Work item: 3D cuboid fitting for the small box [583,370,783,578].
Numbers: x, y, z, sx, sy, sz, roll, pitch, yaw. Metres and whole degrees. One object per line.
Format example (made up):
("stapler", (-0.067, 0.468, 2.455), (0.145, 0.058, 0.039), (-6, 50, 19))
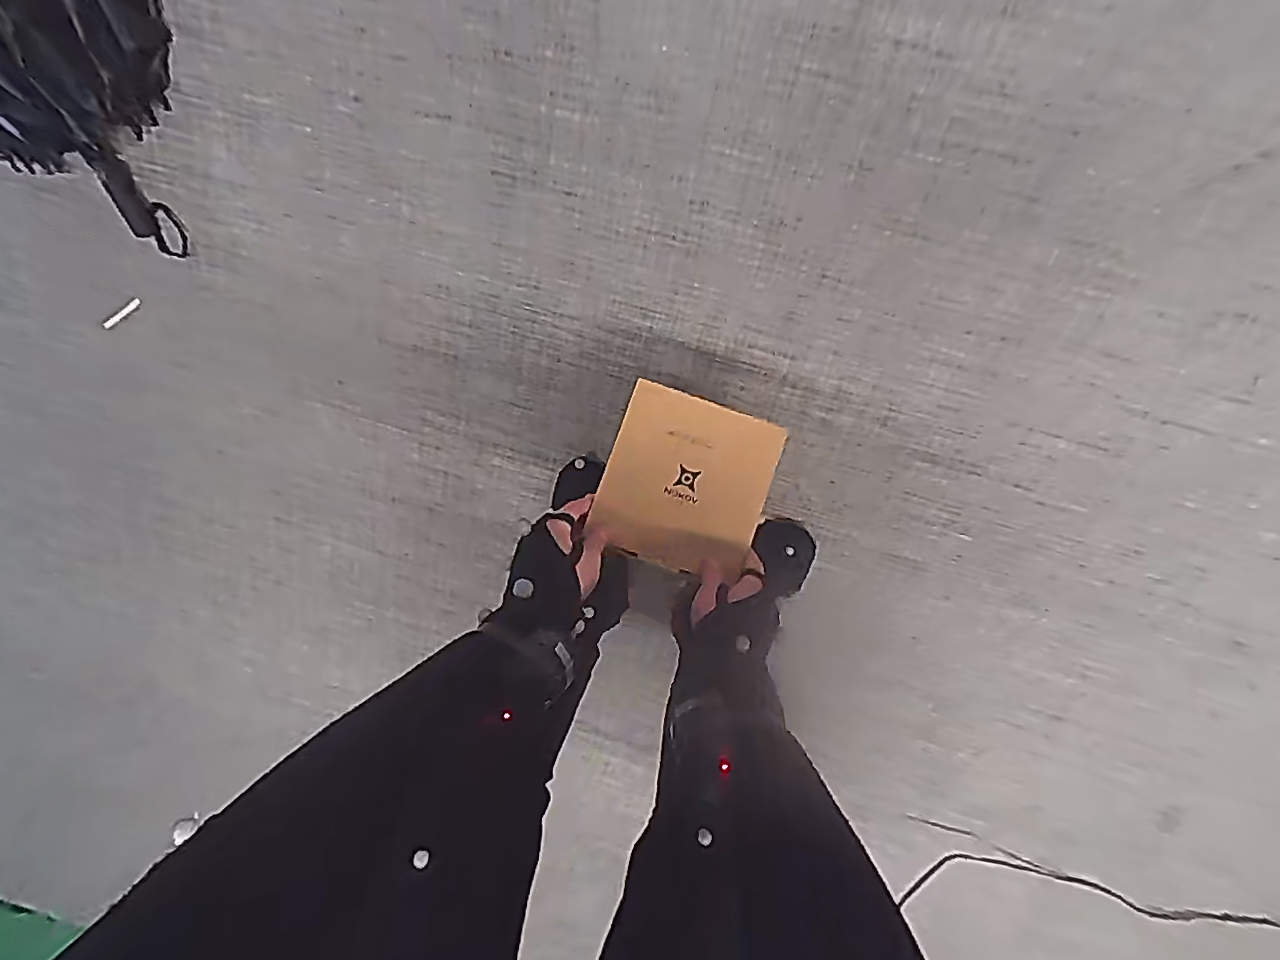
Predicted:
("small box", (0.043, -0.001, 0.631), (0.168, 0.176, 0.179), (19, 84, -1))
